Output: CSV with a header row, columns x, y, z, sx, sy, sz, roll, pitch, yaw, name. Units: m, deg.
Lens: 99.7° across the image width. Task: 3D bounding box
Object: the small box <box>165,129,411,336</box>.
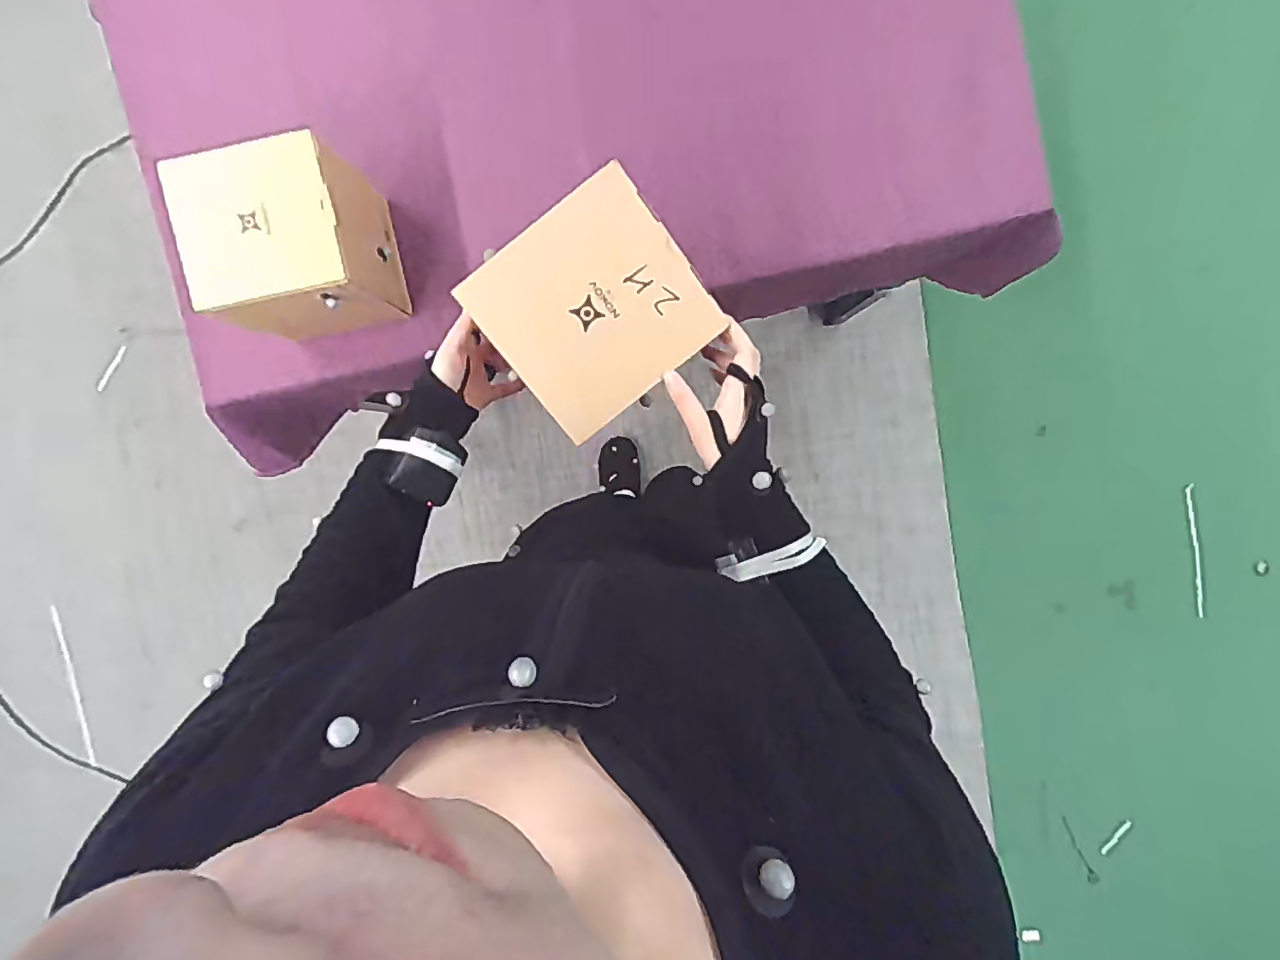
x,y,z,sx,sy,sz,roll,pitch,yaw,name
-0.415,-0.288,0.668,0.179,0.176,0.168,-12,94,0,small box
